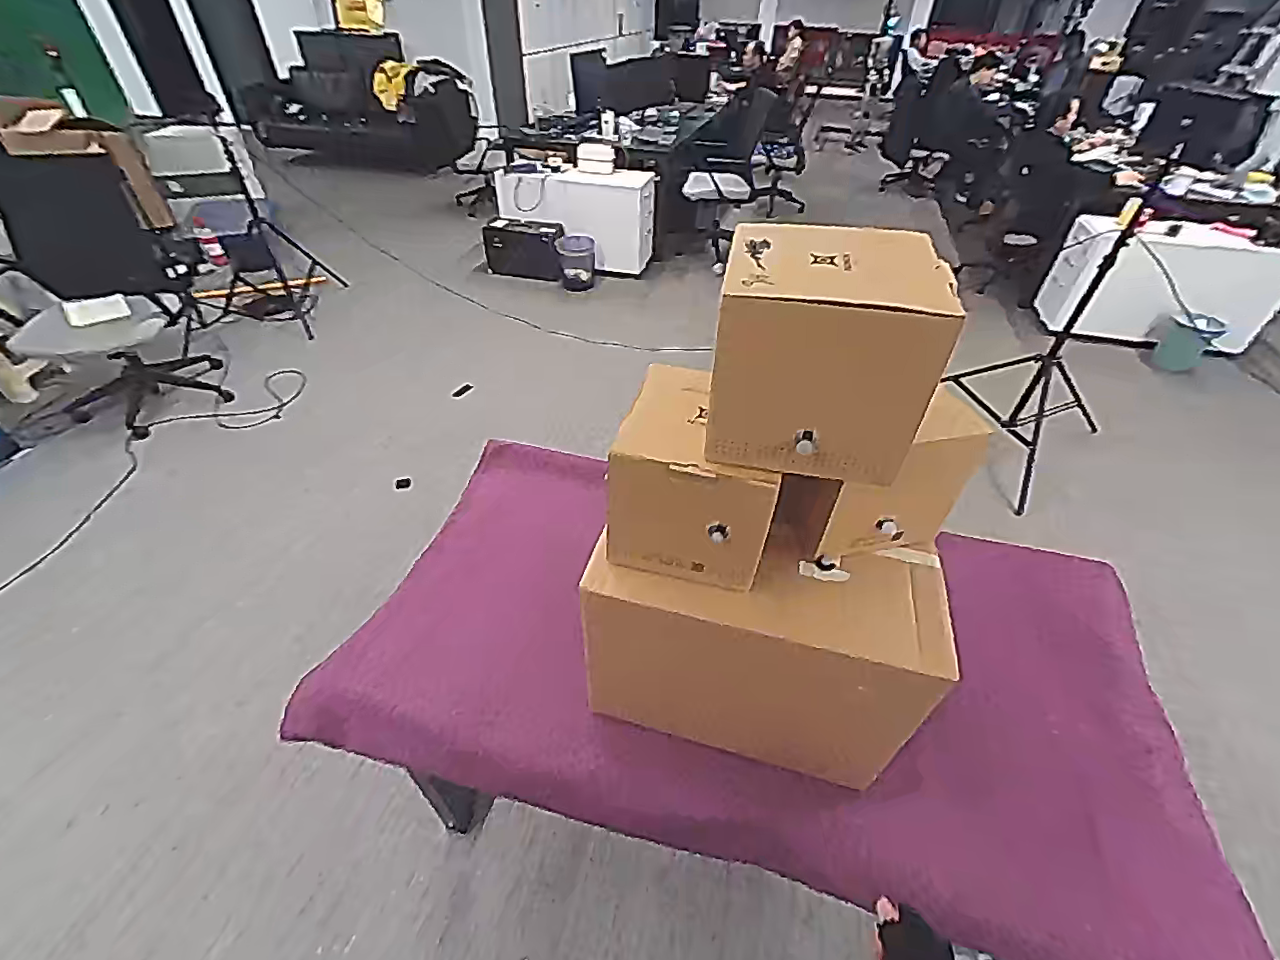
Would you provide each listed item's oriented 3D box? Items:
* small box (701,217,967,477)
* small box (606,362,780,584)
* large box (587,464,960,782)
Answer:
[{"bbox_3d":[0.159,-0.122,0.498,0.179,0.176,0.168,9,43,9],"label":"small box"},{"bbox_3d":[0.063,-0.008,0.614,0.168,0.176,0.179,11,42,8],"label":"small box"},{"bbox_3d":[0.159,0.175,0.778,0.408,0.320,0.320,11,44,9],"label":"large box"}]
